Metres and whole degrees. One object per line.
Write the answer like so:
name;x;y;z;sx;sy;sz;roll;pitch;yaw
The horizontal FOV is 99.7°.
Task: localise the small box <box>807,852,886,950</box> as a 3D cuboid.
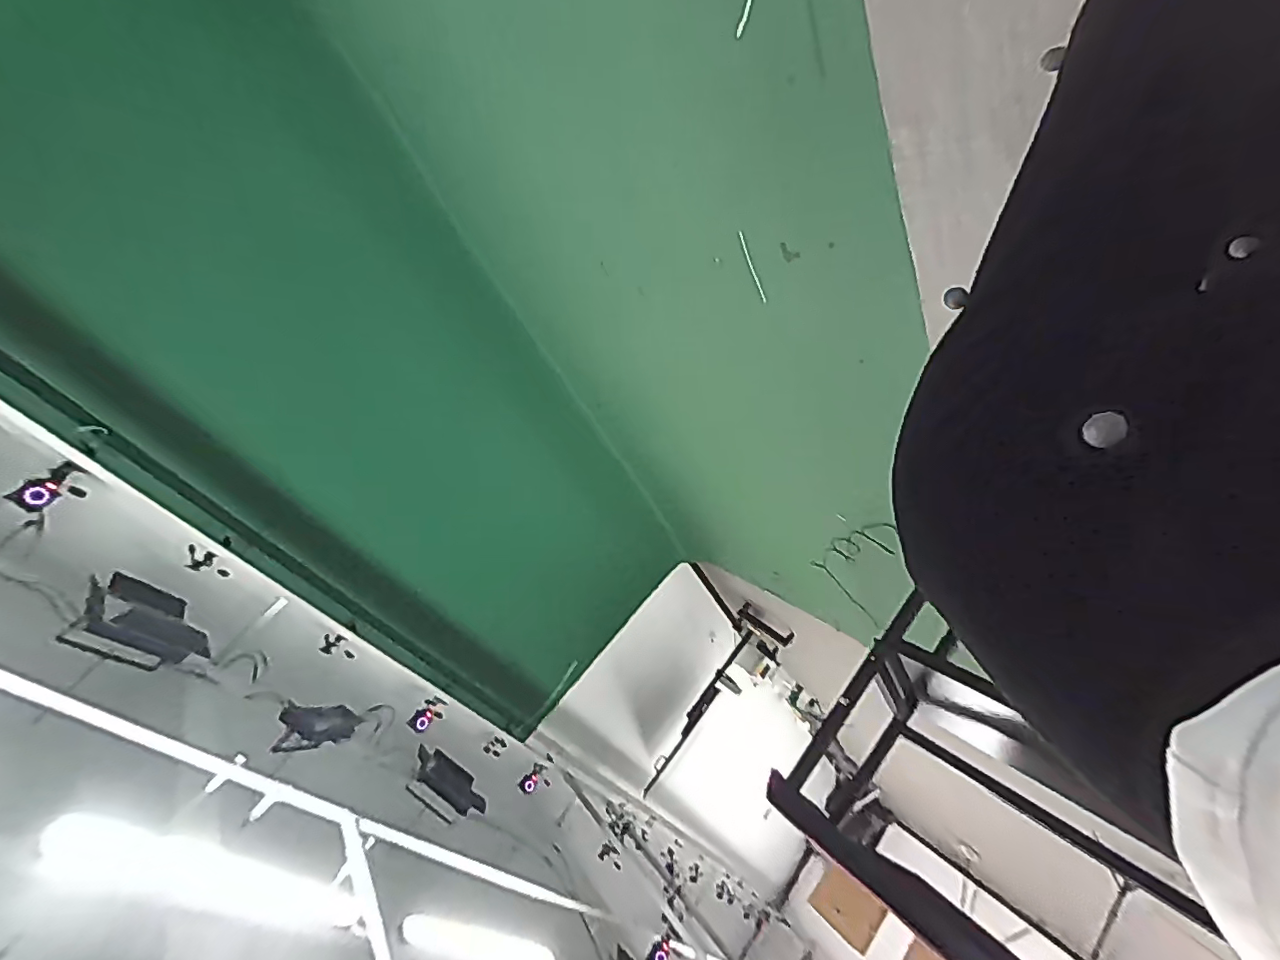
small box;0.684;1.372;1.769;0.179;0.176;0.168;23;153;48
